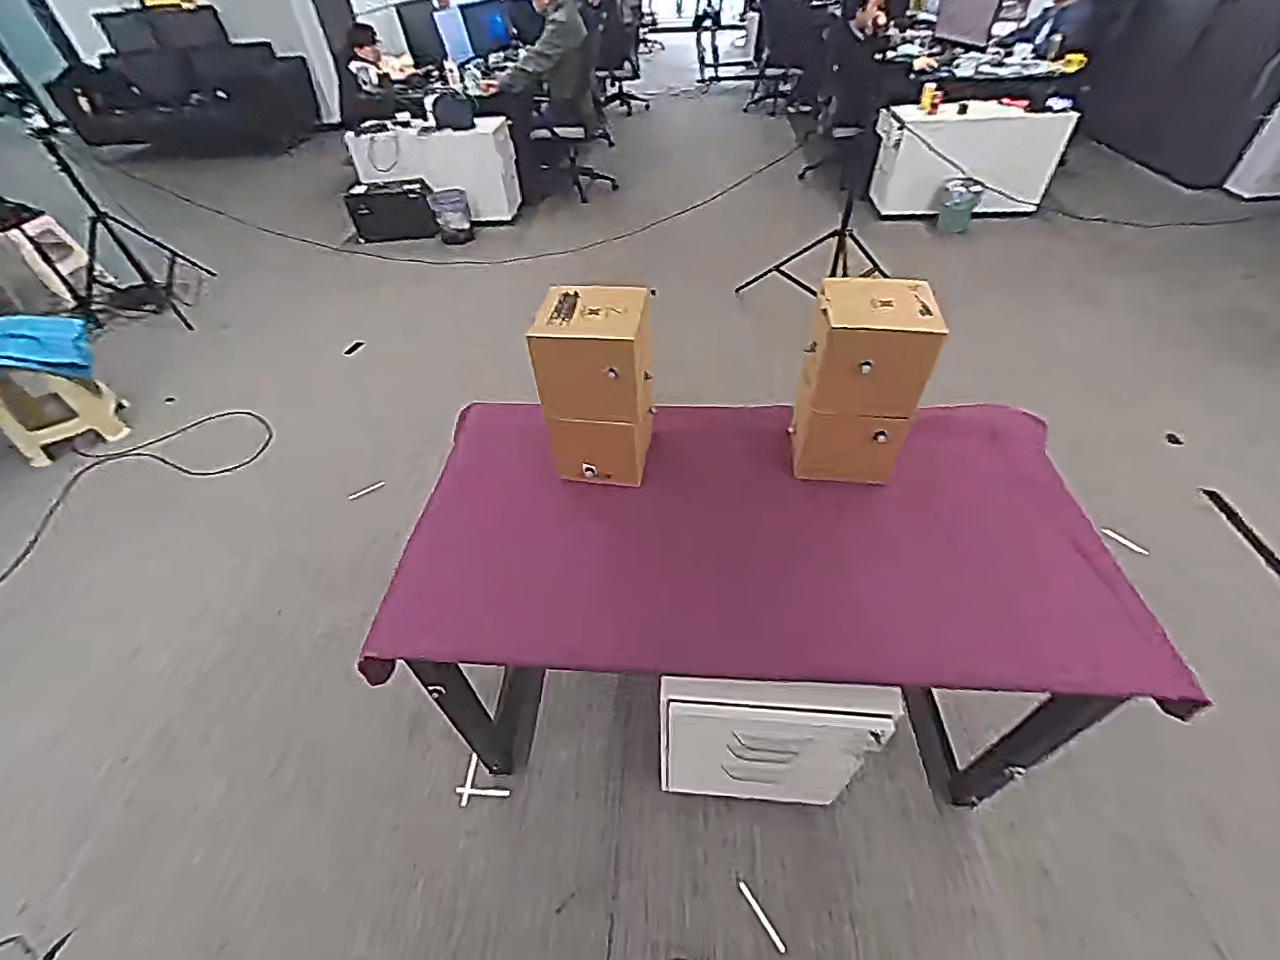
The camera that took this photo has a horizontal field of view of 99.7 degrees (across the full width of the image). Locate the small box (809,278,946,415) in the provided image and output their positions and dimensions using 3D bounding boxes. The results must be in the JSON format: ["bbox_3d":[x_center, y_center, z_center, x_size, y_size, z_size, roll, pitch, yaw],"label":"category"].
[{"bbox_3d":[0.389,-0.227,0.924,0.179,0.176,0.168,4,47,9],"label":"small box"}]

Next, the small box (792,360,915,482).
[{"bbox_3d":[0.398,-0.112,1.041,0.179,0.176,0.168,3,46,7],"label":"small box"}]

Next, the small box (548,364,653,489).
[{"bbox_3d":[-0.067,-0.107,1.067,0.168,0.176,0.179,4,48,9],"label":"small box"}]
